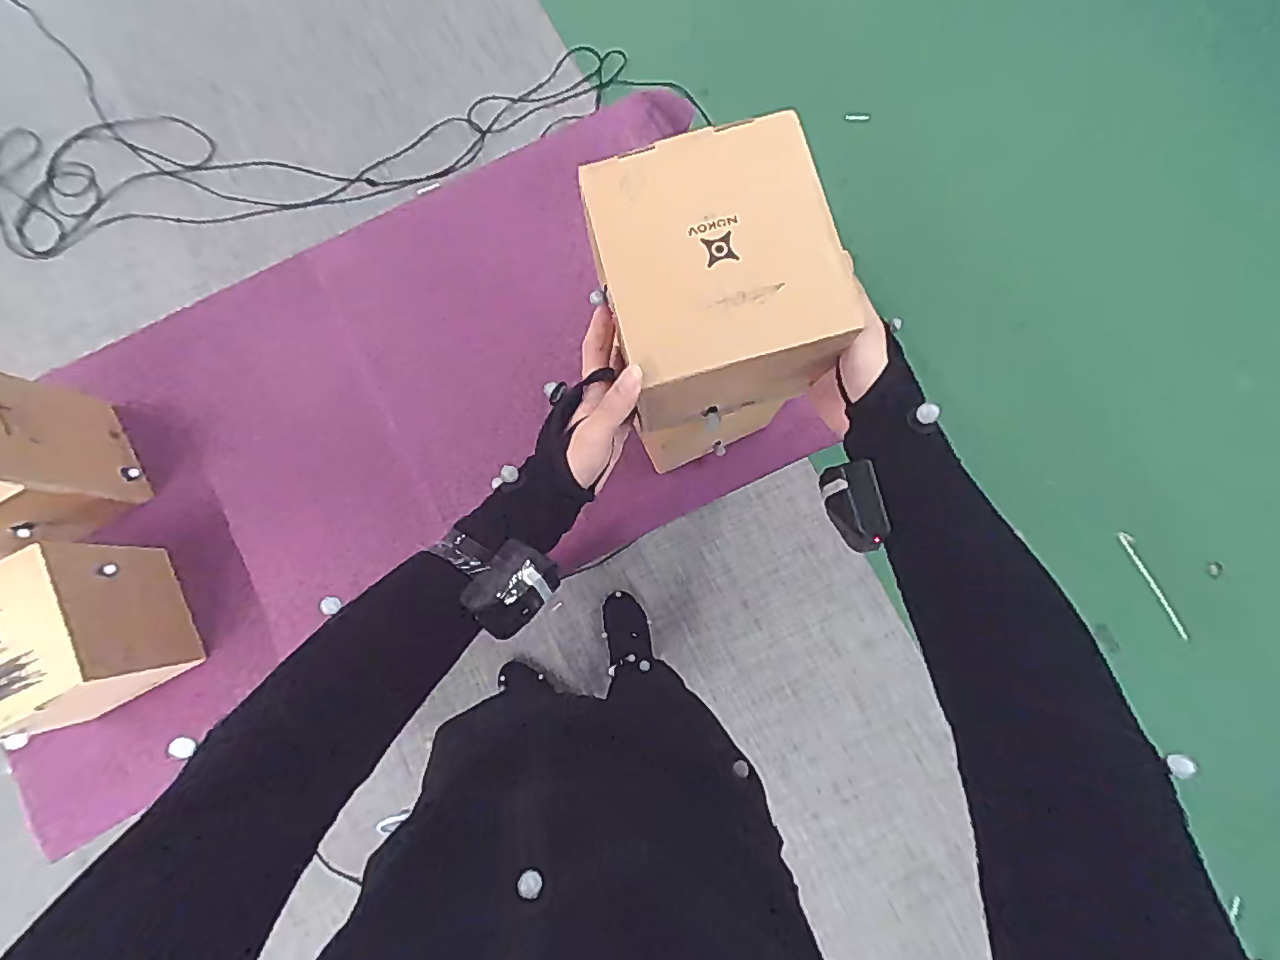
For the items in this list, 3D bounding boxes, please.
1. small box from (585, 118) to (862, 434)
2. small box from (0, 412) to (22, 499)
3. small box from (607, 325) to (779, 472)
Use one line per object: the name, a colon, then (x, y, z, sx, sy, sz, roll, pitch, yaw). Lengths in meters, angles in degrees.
small box: (0.058, -0.155, 0.466, 0.168, 0.176, 0.179, -15, 83, 0)
small box: (-0.807, -0.038, 0.545, 0.168, 0.176, 0.179, -31, 81, -5)
small box: (0.068, -0.128, 0.722, 0.179, 0.176, 0.168, -24, 80, -4)
